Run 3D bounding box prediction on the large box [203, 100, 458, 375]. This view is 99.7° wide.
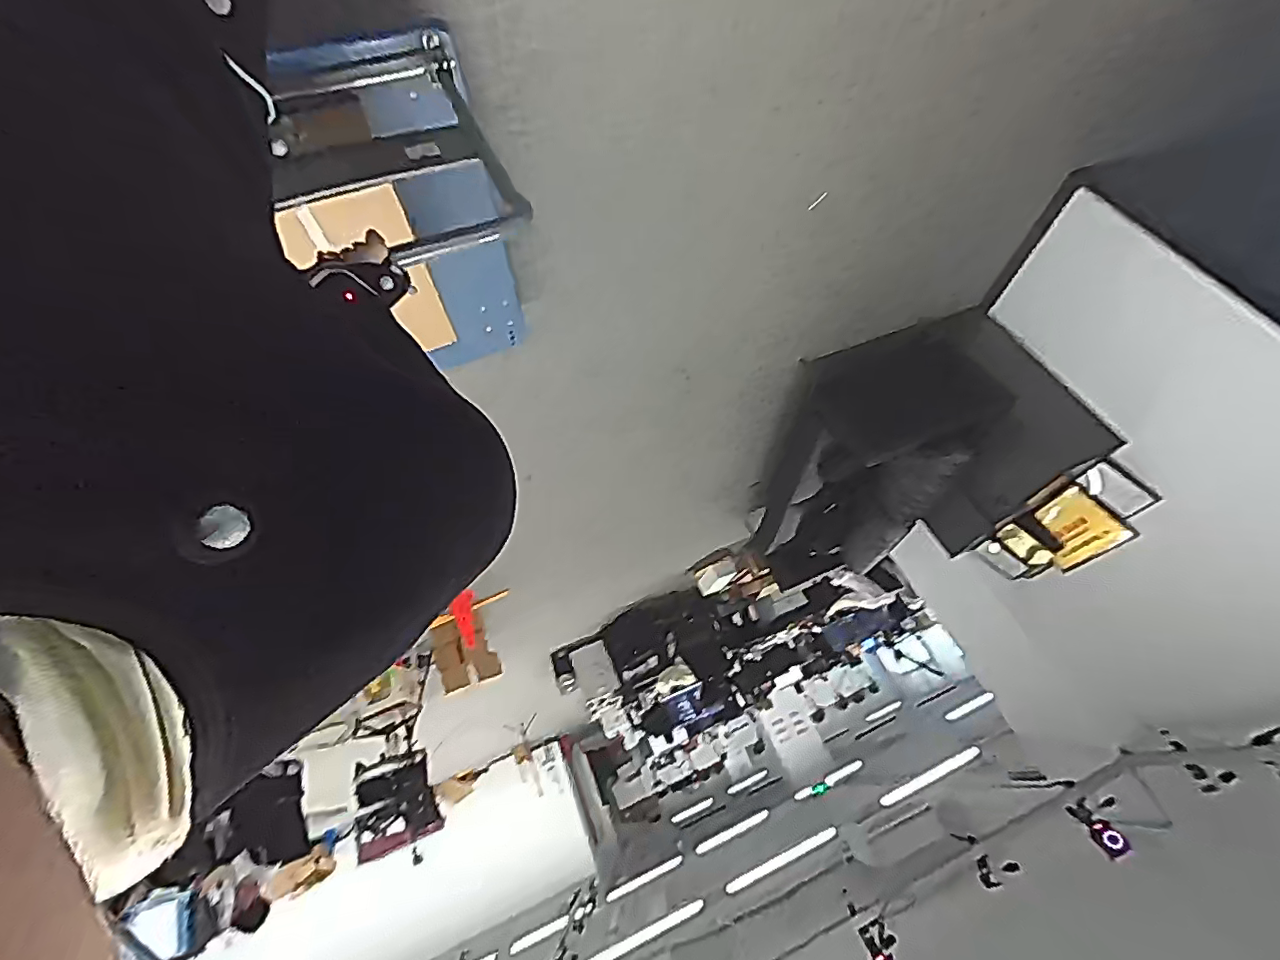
[{"bbox_3d":[-0.648,-0.512,1.181,0.320,0.320,0.408,-21,153,-11],"label":"large box"}]
